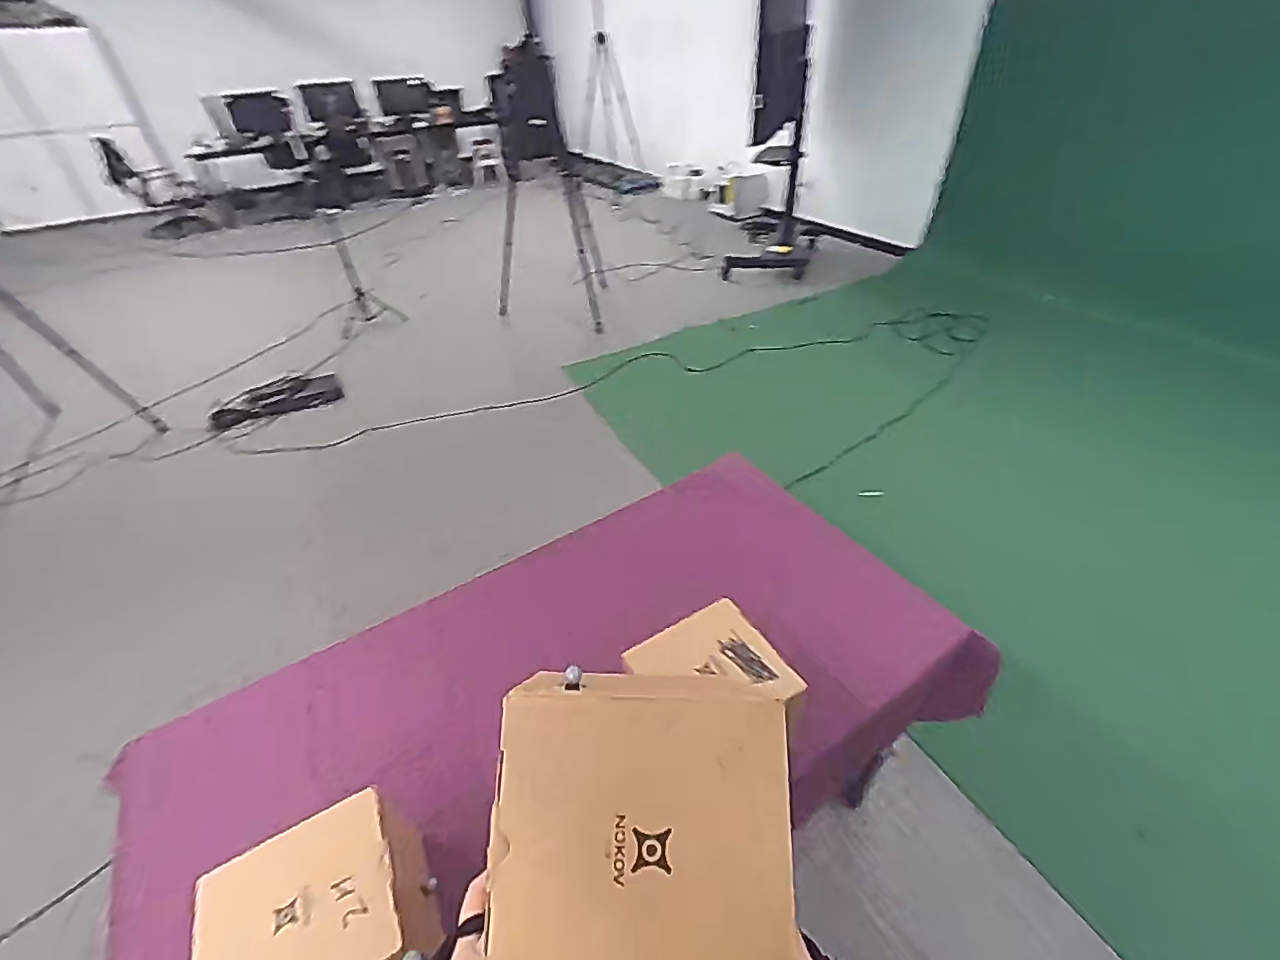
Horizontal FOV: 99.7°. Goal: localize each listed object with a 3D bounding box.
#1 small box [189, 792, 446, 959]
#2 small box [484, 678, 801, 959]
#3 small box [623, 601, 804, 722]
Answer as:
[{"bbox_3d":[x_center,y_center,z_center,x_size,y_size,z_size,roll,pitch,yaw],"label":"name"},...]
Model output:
[{"bbox_3d":[-0.326,0.480,0.566,0.179,0.176,0.168,-23,43,-21],"label":"small box"},{"bbox_3d":[0.001,0.235,0.384,0.179,0.176,0.168,3,74,-1],"label":"small box"},{"bbox_3d":[0.094,0.307,0.739,0.179,0.176,0.168,-23,43,-20],"label":"small box"}]
